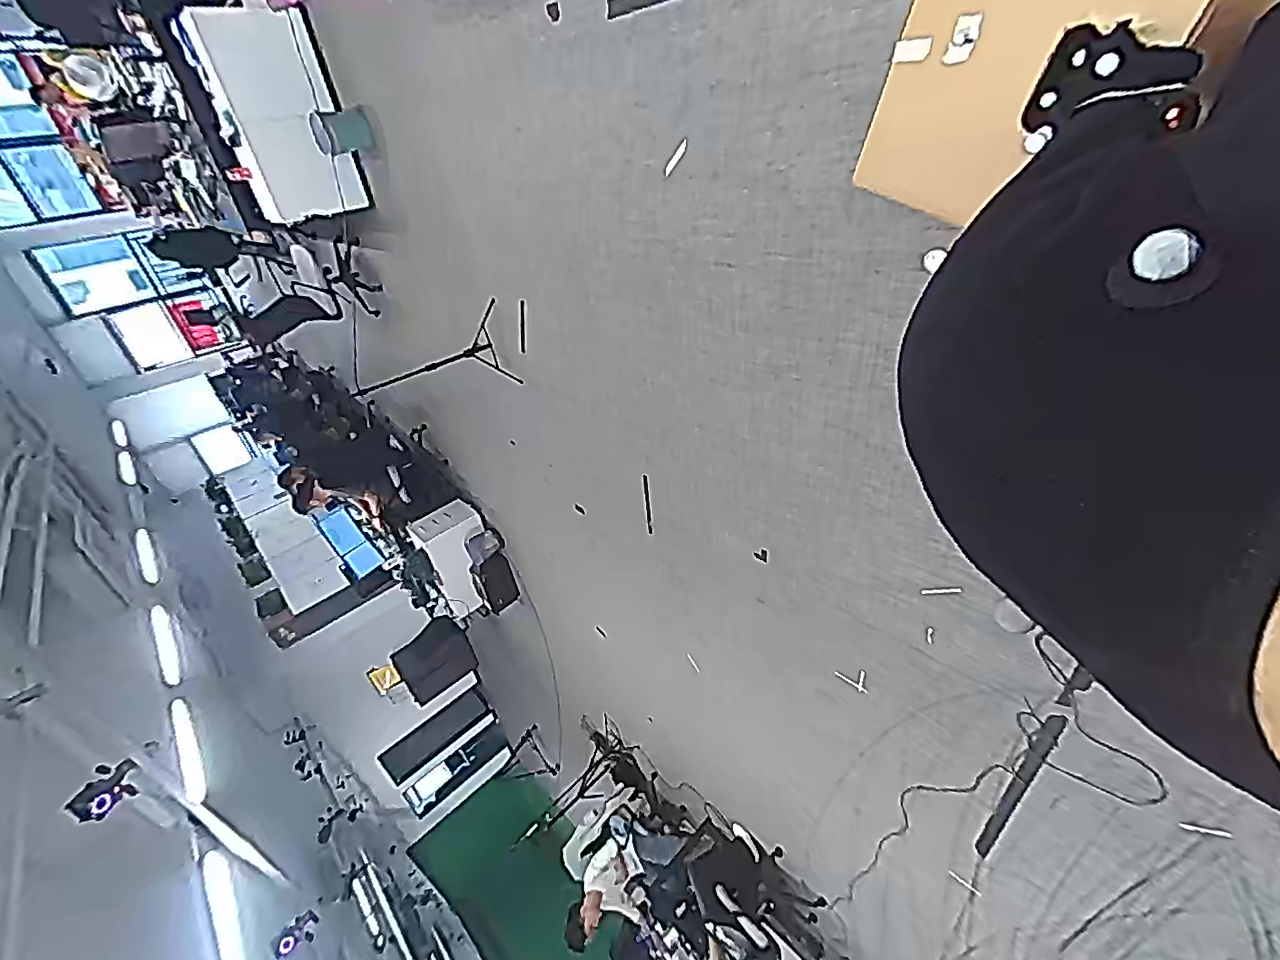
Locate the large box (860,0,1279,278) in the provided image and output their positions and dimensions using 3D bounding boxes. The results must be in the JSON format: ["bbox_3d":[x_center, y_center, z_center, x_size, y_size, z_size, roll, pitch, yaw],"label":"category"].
[{"bbox_3d":[0.582,-0.491,0.711,0.320,0.408,0.320,50,145,37],"label":"large box"}]
